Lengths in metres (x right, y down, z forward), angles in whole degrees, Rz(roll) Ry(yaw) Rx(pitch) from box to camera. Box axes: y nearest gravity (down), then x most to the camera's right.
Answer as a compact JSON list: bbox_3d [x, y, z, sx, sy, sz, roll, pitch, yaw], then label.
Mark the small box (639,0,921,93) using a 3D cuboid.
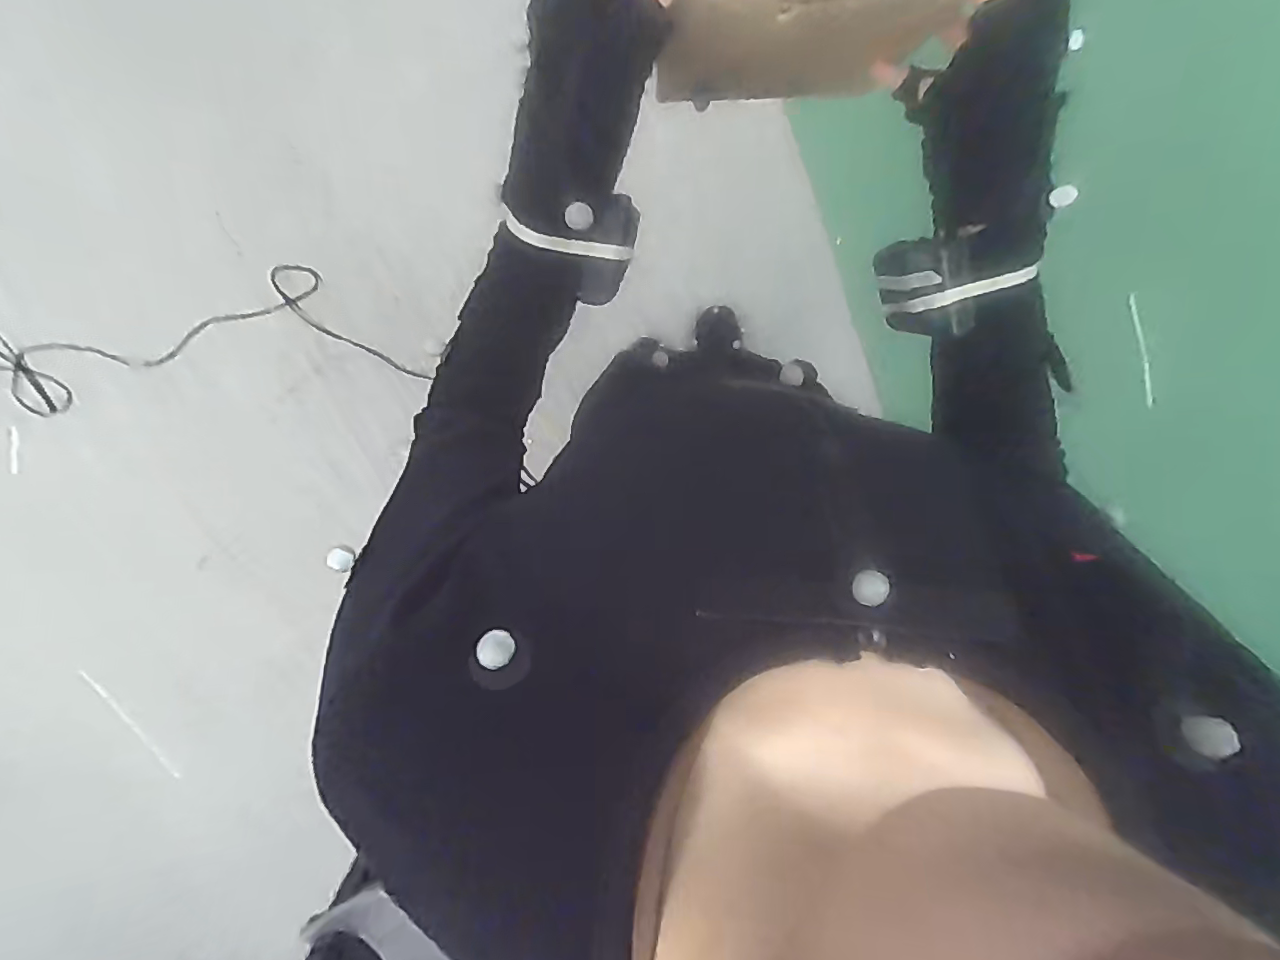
[{"bbox_3d":[0.081,-0.352,0.316,0.168,0.176,0.179,-2,107,1],"label":"small box"}]
